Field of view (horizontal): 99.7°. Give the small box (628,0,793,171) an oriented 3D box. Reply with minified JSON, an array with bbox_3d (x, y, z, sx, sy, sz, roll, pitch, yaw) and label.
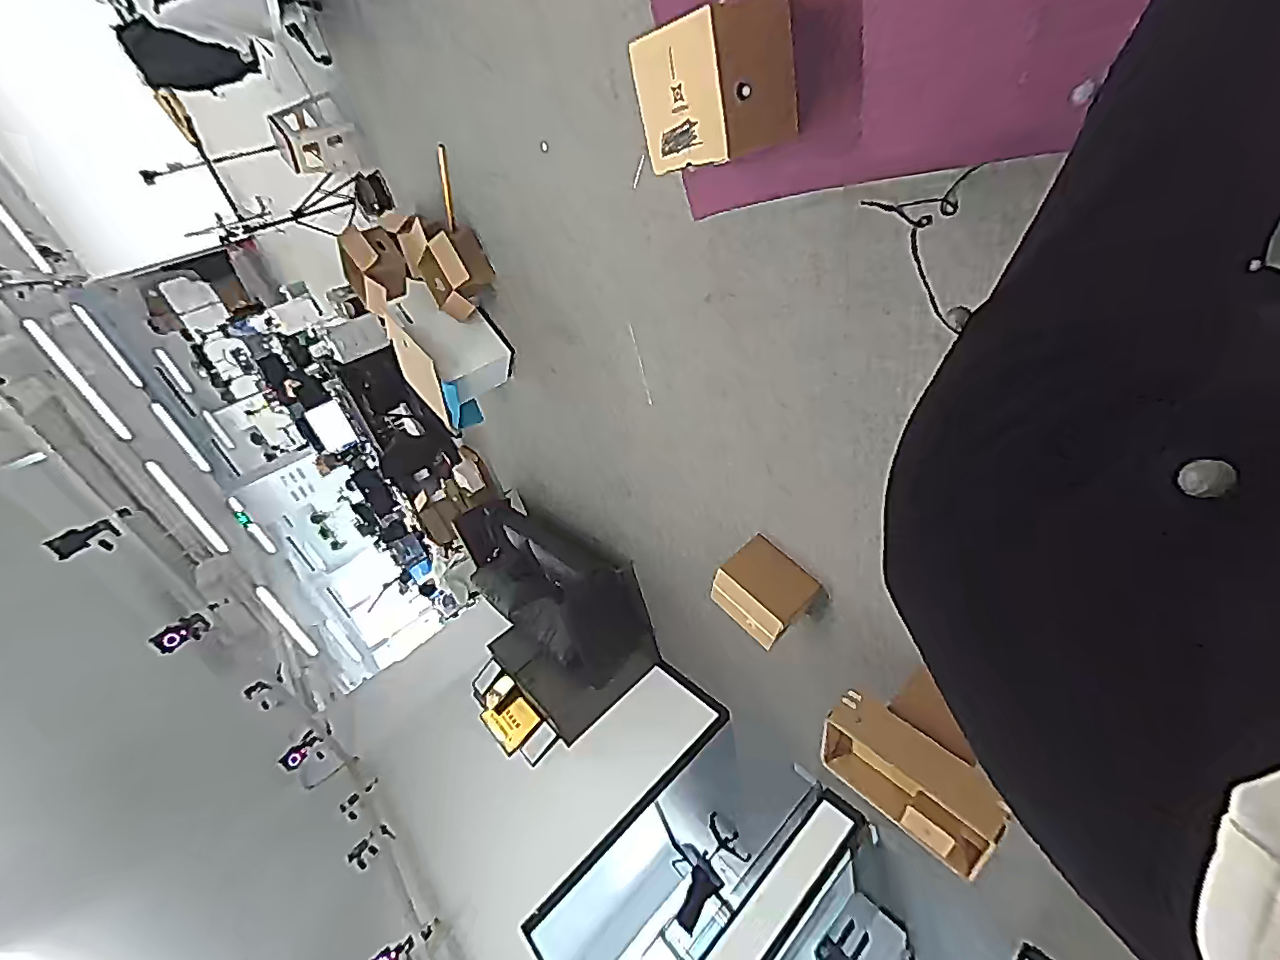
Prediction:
[{"bbox_3d":[0.112,-0.588,0.810,0.168,0.176,0.179,23,138,46],"label":"small box"}]

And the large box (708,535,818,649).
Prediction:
[{"bbox_3d":[0.611,0.558,2.732,0.408,0.320,0.320,39,149,26],"label":"large box"}]
